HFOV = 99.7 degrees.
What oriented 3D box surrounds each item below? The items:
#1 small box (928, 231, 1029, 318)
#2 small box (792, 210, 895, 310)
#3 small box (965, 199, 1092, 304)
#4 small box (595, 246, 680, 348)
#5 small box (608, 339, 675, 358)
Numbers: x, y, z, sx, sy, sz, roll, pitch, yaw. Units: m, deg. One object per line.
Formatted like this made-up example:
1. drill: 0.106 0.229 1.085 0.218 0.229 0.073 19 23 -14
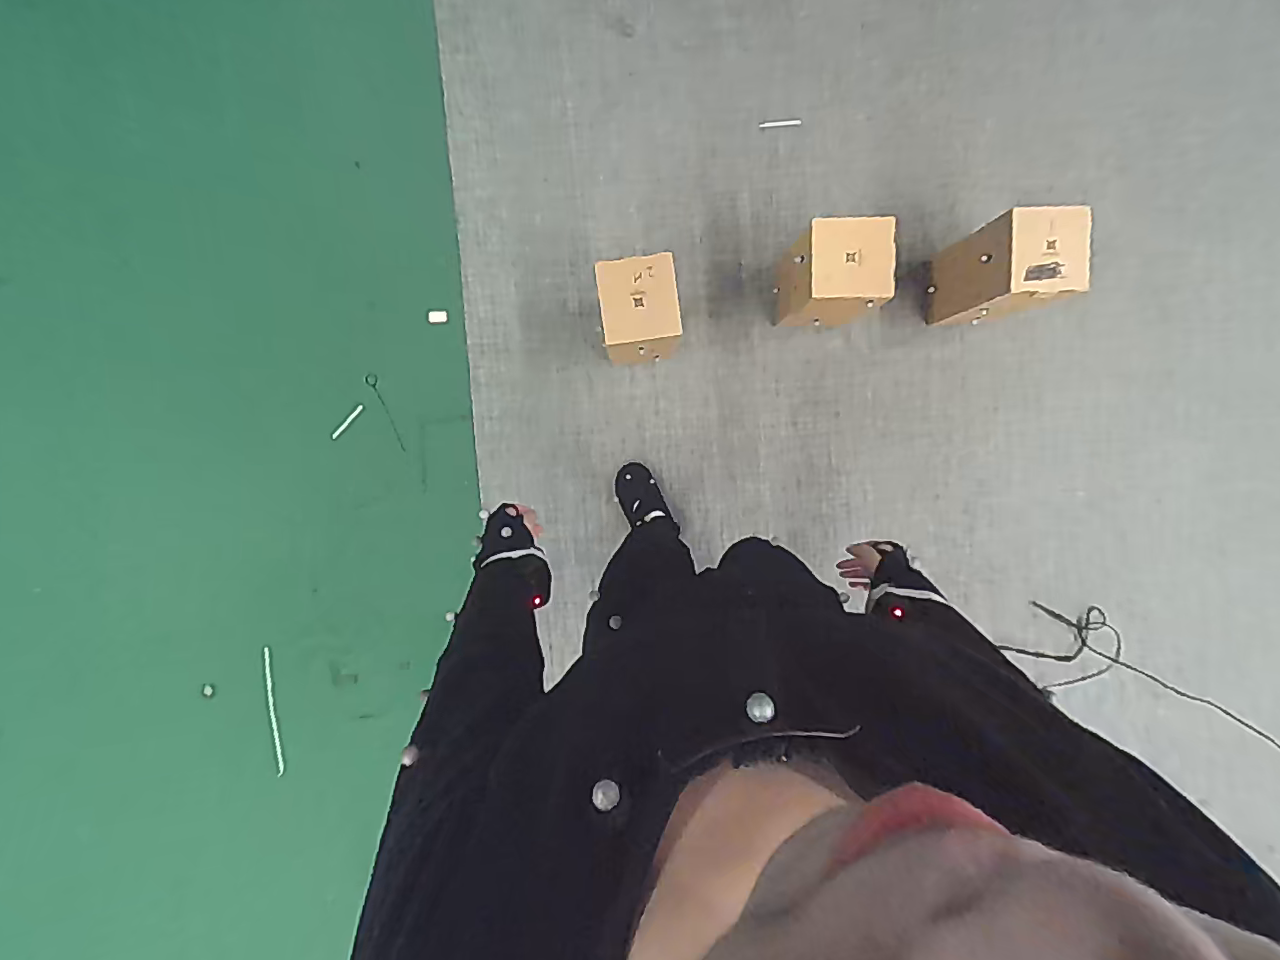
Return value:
1. small box: 0.848 -0.511 1.358 0.168 0.176 0.179 -2 95 0
2. small box: 0.441 -0.479 1.198 0.179 0.176 0.168 -1 94 0
3. small box: 0.847 -0.494 1.194 0.168 0.176 0.179 -1 93 0
4. small box: -0.004 -0.396 1.206 0.168 0.176 0.179 -7 94 0
5. small box: -0.003 -0.411 1.370 0.168 0.176 0.179 -6 94 0
